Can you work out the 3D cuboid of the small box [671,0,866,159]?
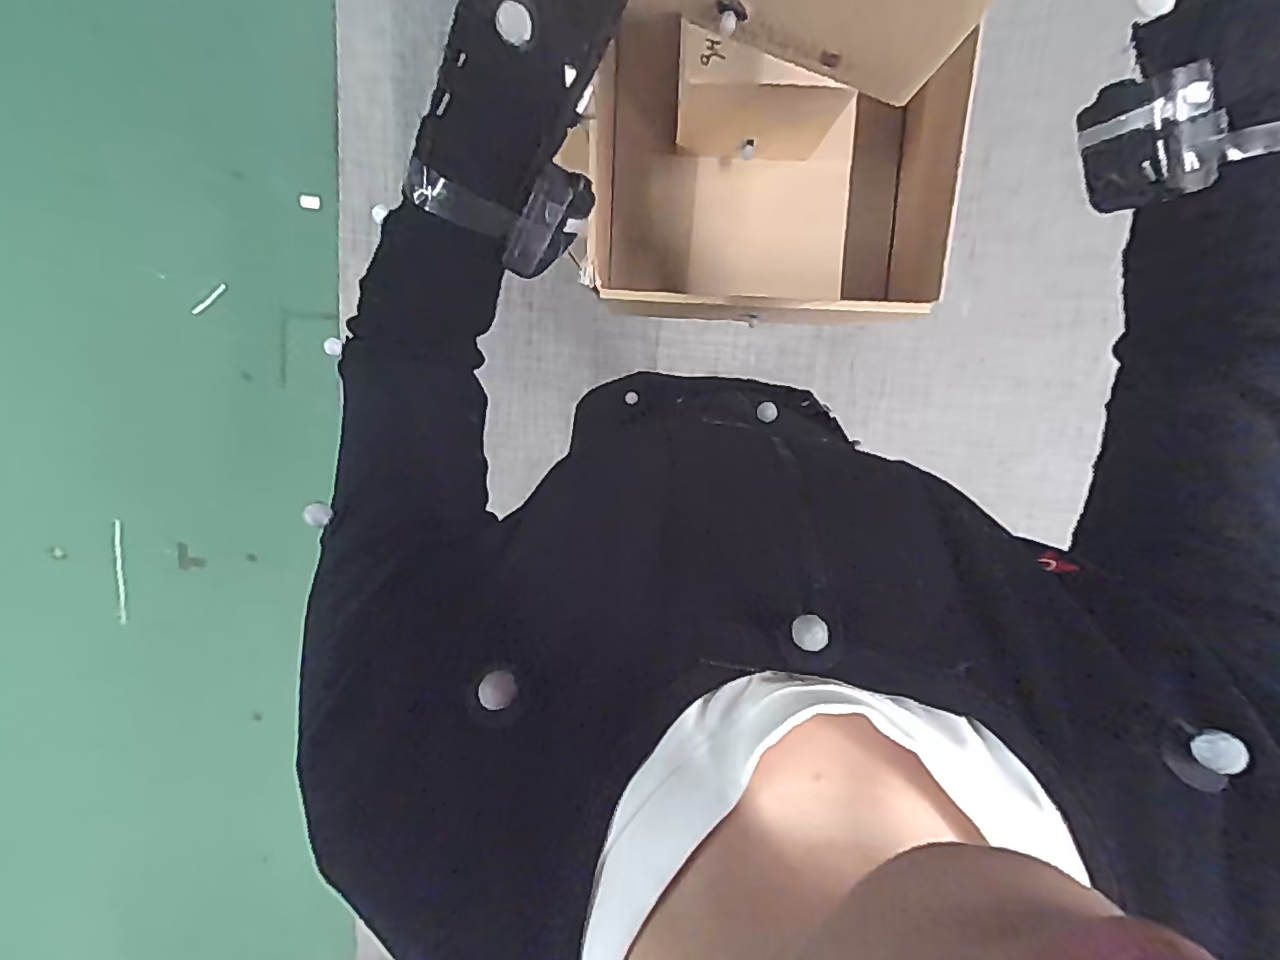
[{"bbox_3d":[0.132,-0.480,0.601,0.179,0.176,0.168,3,98,-1],"label":"small box"}]
